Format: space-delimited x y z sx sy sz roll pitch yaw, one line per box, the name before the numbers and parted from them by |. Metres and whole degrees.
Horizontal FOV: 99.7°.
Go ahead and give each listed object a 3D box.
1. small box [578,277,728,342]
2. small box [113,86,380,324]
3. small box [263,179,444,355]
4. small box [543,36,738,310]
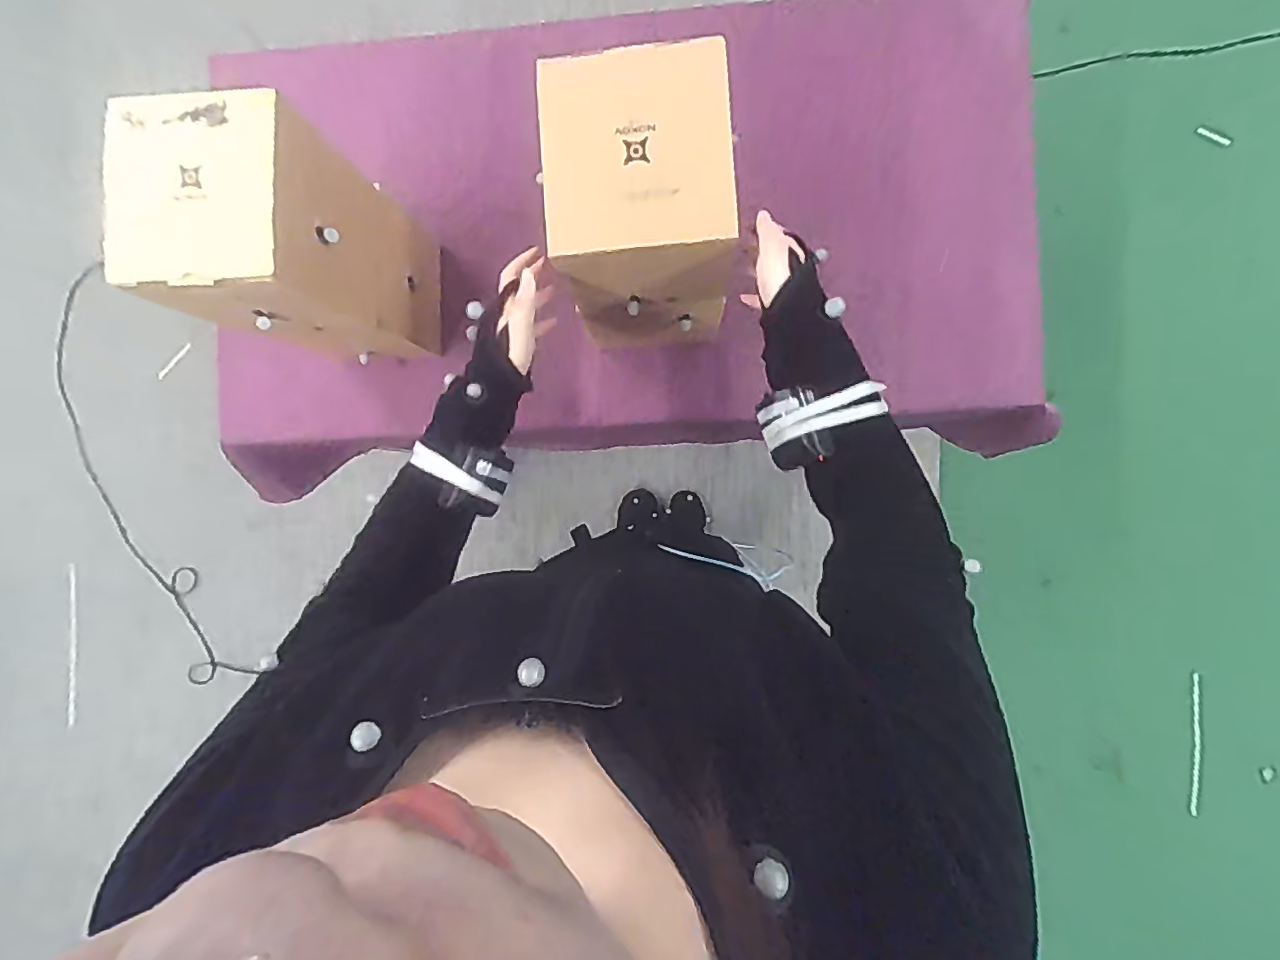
small box | 0.017 -0.285 0.707 0.179 0.176 0.168 -2 89 4
small box | -0.396 -0.270 0.573 0.168 0.176 0.179 0 91 3
small box | -0.381 -0.277 0.736 0.168 0.176 0.179 0 90 4
small box | 0.004 -0.288 0.544 0.168 0.176 0.179 -3 90 5
